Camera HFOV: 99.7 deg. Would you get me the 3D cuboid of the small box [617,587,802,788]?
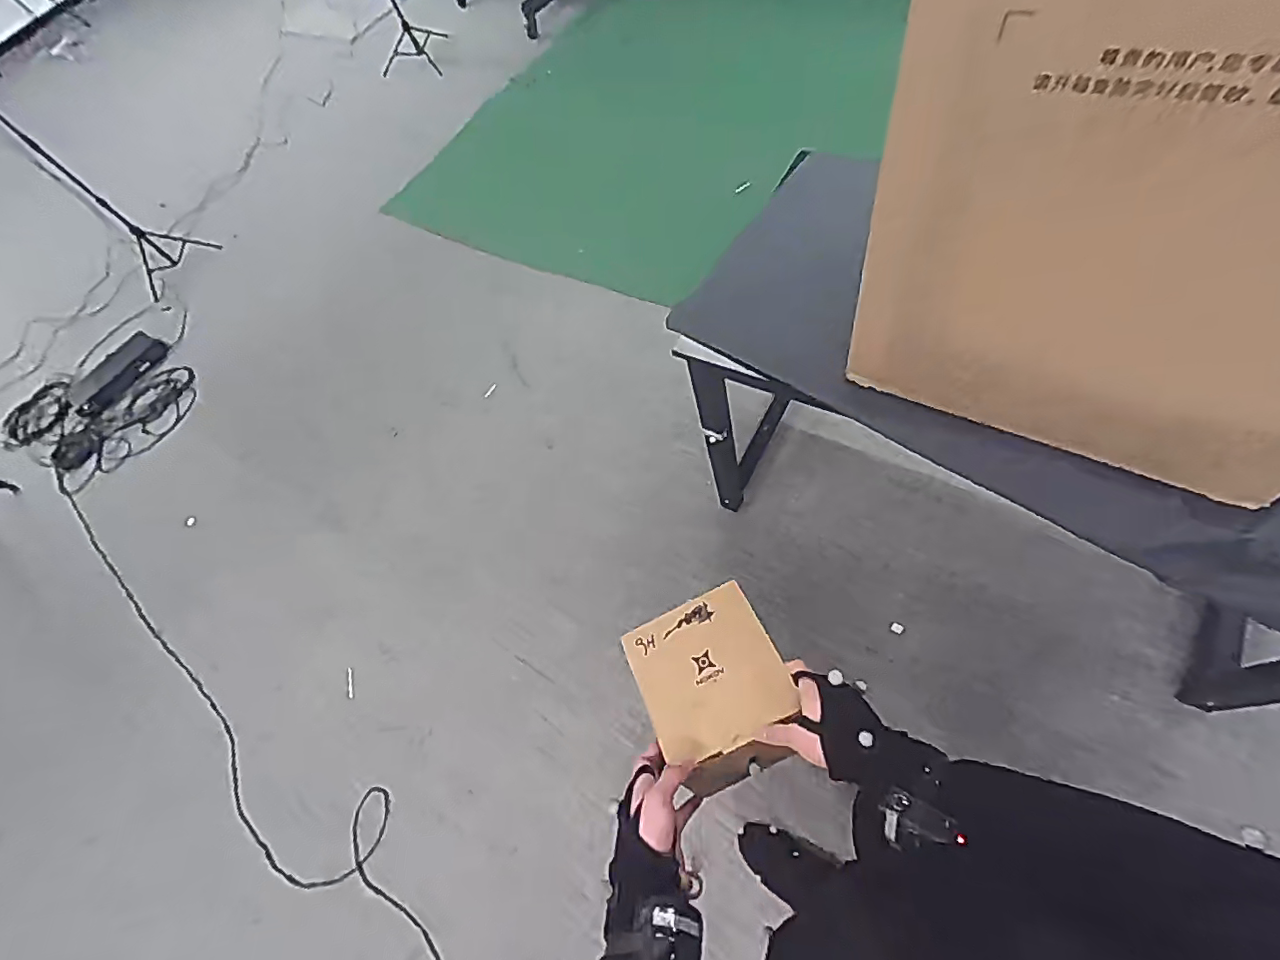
[{"bbox_3d":[0.095,0.276,0.701,0.168,0.176,0.179,-27,50,0],"label":"small box"}]
